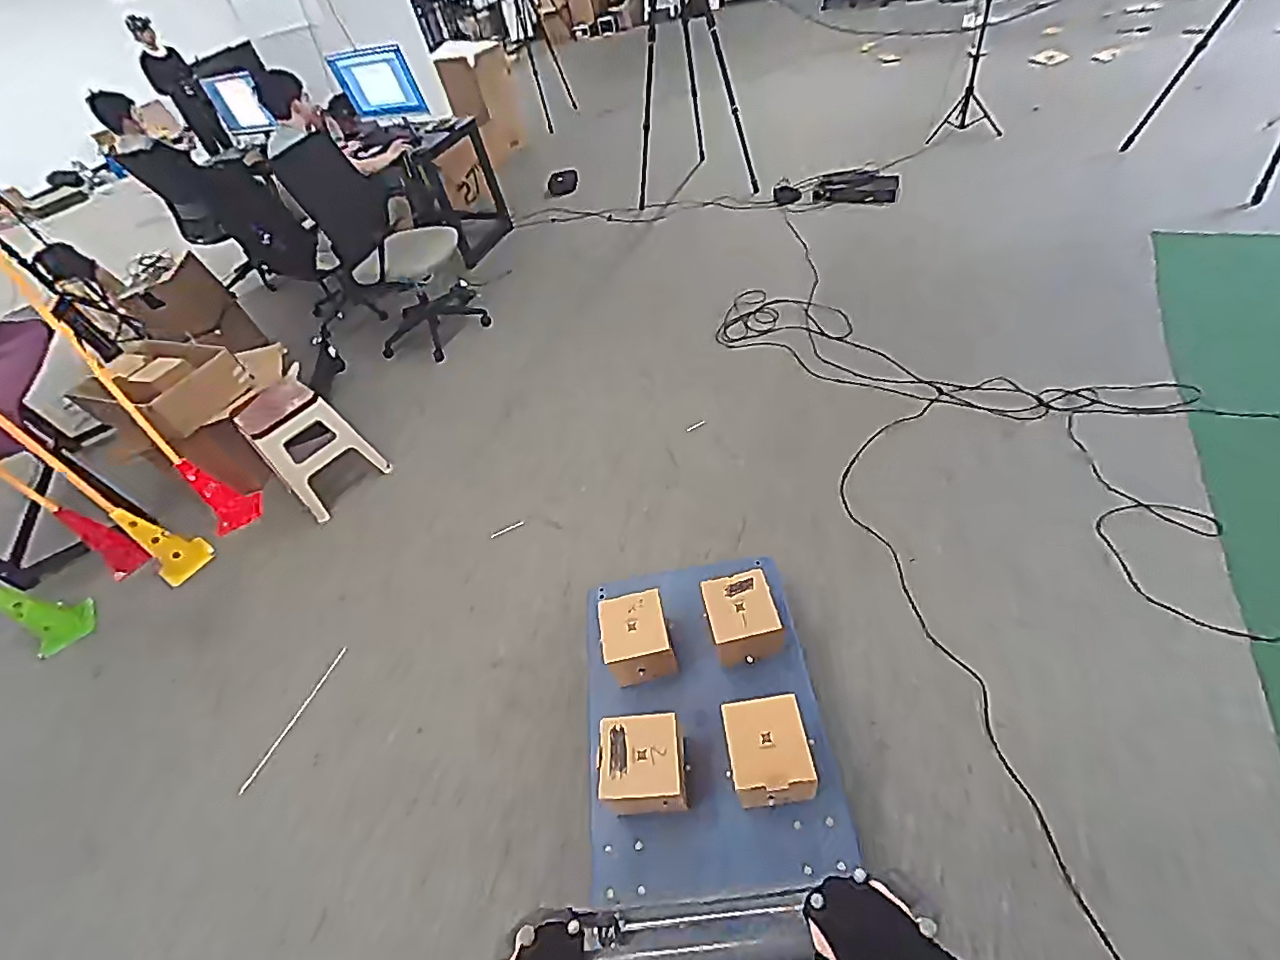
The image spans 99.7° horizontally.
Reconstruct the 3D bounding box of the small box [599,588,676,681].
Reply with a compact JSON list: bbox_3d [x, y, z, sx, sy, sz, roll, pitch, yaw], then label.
[{"bbox_3d":[-0.004,0.415,1.429,0.168,0.176,0.179,-12,48,2],"label":"small box"}]

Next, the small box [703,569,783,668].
[{"bbox_3d":[0.267,0.363,1.410,0.168,0.176,0.179,-14,49,3],"label":"small box"}]

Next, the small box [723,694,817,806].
[{"bbox_3d":[0.282,0.601,1.201,0.168,0.176,0.179,-10,49,5],"label":"small box"}]
